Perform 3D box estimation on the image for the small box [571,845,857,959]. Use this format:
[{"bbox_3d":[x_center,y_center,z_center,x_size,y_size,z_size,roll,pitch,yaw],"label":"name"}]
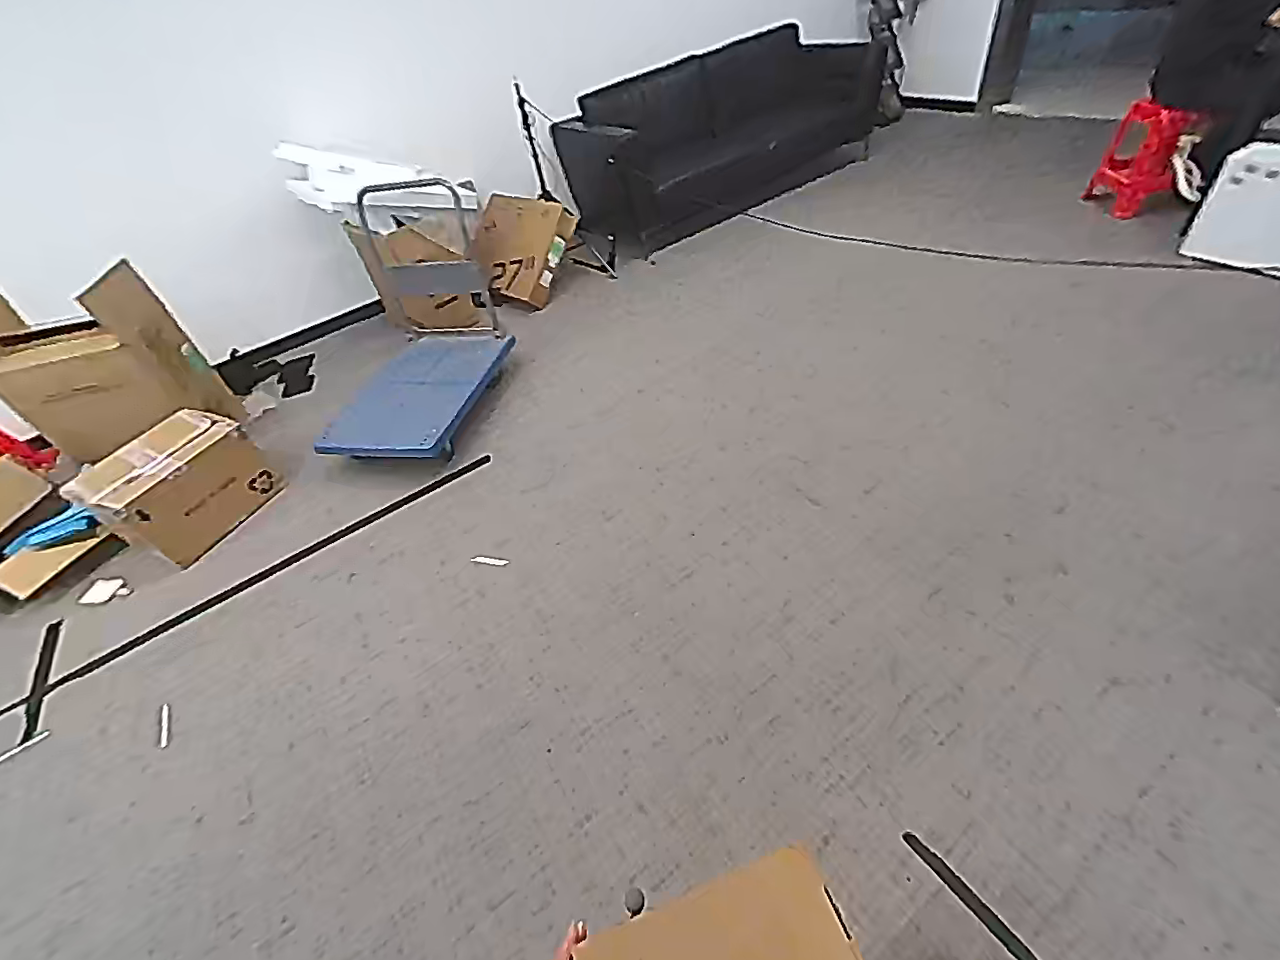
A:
[{"bbox_3d":[0.067,0.392,0.379,0.179,0.176,0.168,-17,51,-11],"label":"small box"}]
